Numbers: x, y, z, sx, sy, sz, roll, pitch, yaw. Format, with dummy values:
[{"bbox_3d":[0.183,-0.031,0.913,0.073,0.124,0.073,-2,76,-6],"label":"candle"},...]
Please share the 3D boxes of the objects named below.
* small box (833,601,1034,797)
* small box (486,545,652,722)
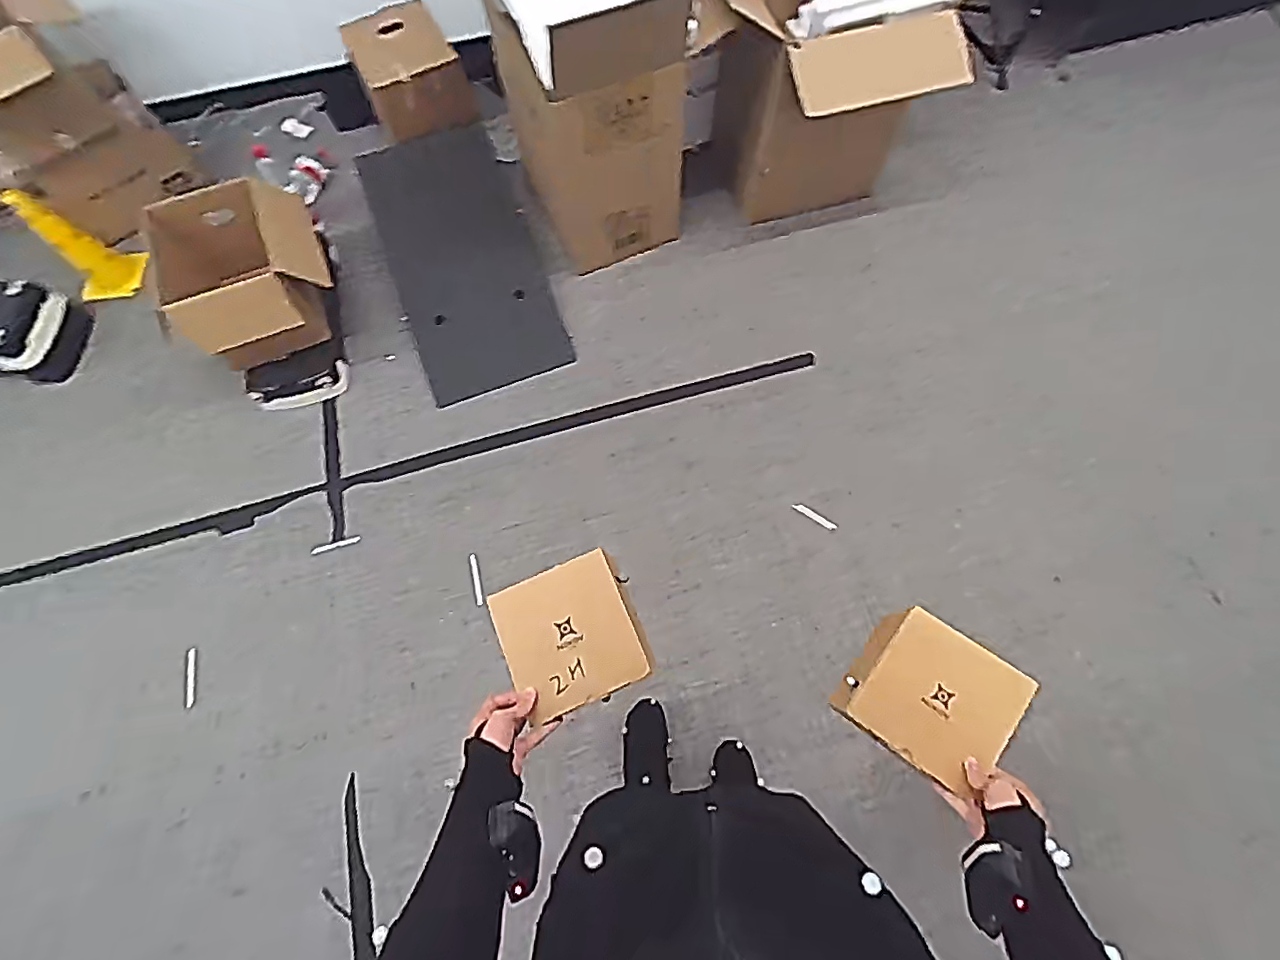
[{"bbox_3d":[0.392,0.294,0.759,0.168,0.176,0.179,33,82,19],"label":"small box"},{"bbox_3d":[-0.091,0.211,0.762,0.168,0.176,0.179,-24,76,-2],"label":"small box"}]
